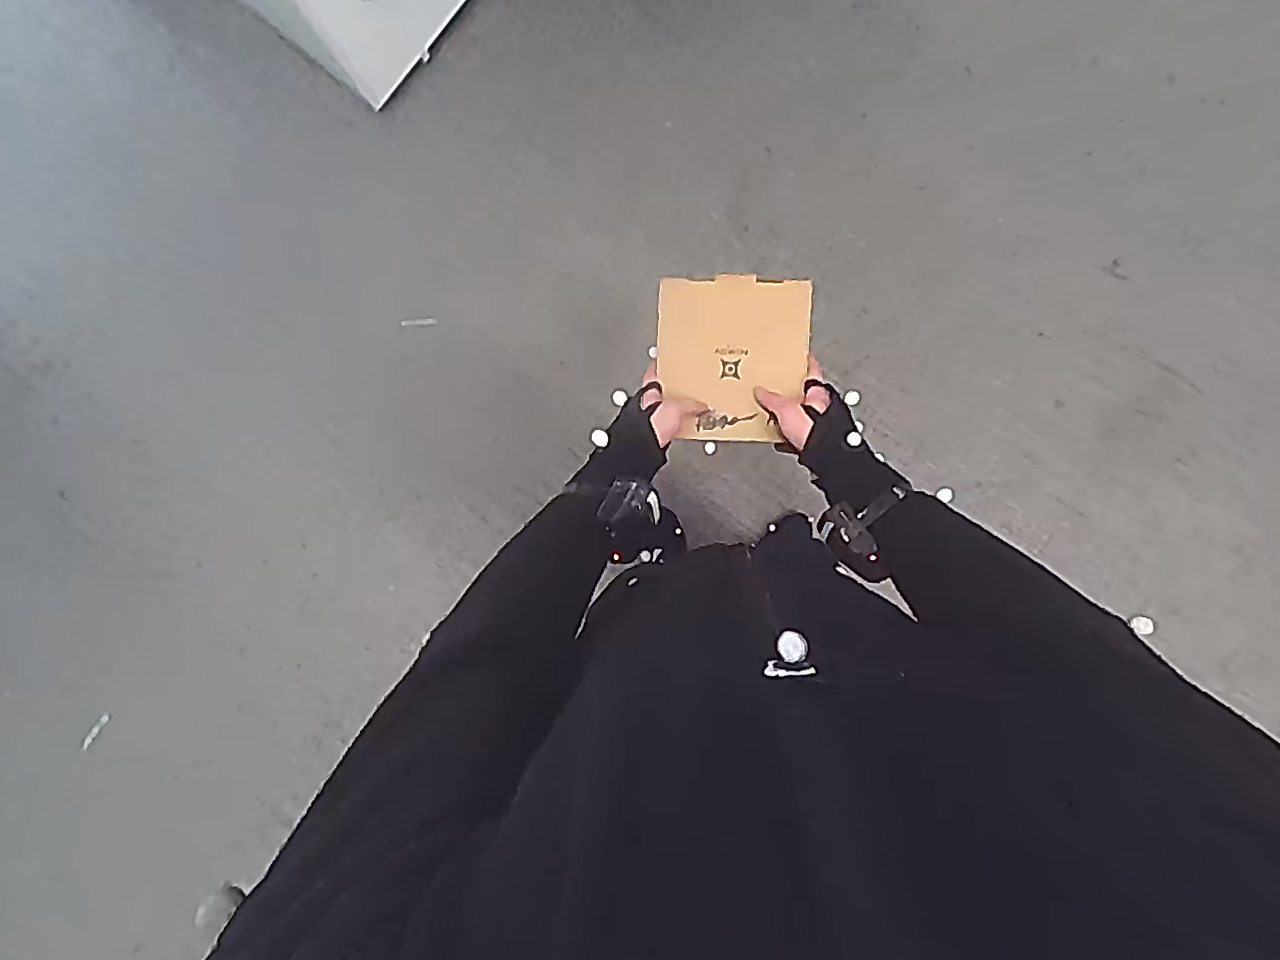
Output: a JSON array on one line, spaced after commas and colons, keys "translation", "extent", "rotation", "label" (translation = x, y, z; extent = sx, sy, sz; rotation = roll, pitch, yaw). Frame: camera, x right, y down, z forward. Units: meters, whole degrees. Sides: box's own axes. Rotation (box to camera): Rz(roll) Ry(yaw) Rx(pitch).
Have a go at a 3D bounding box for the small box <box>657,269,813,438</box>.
[{"translation": [0.109, -0.145, 0.672], "extent": [0.168, 0.176, 0.179], "rotation": [2, 94, 5], "label": "small box"}]
